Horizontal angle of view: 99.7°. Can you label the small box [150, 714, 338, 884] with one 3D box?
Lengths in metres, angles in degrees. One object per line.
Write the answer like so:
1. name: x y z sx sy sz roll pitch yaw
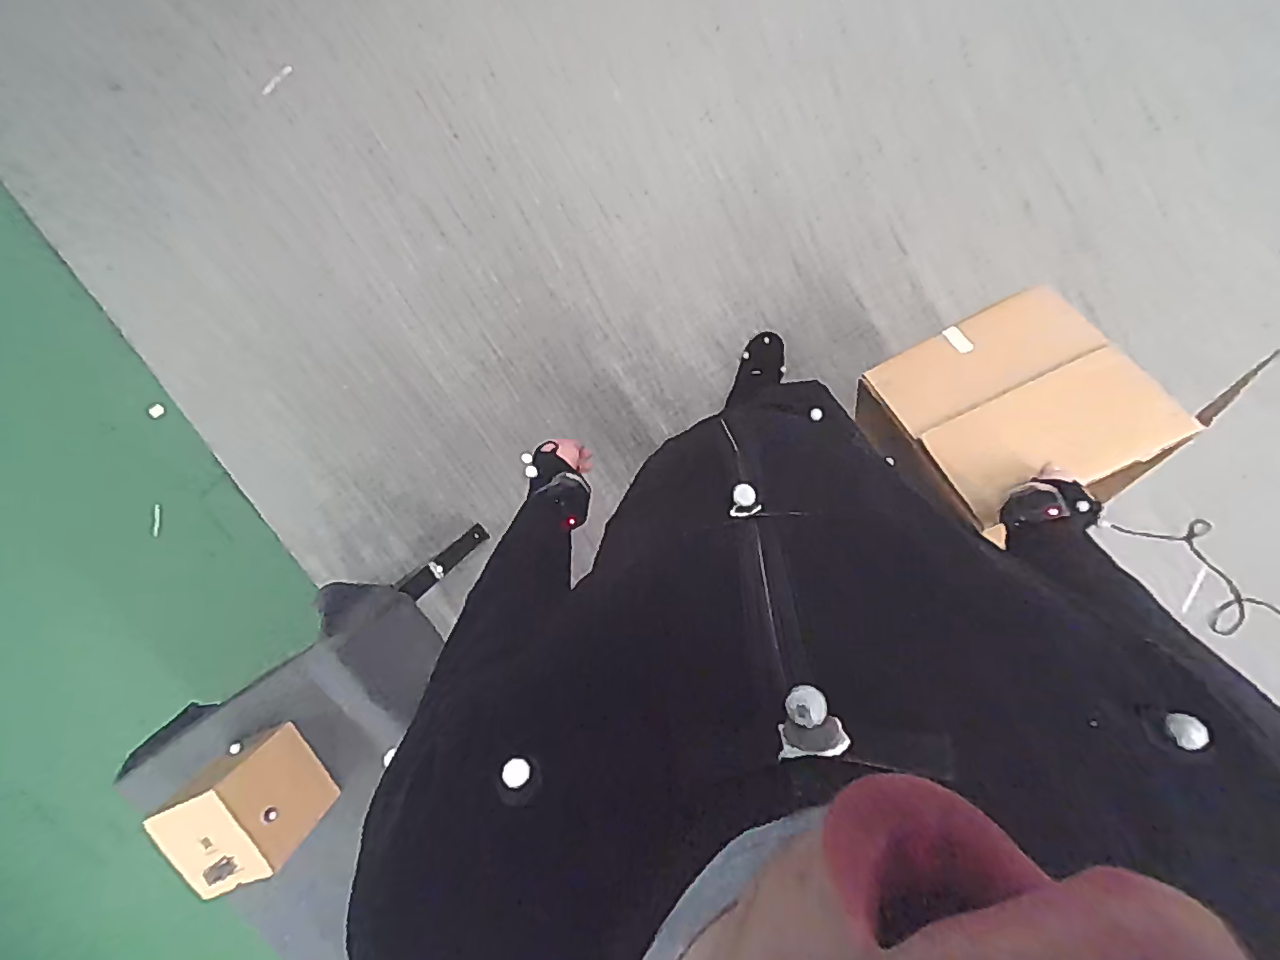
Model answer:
1. small box: -0.688 0.560 0.962 0.168 0.176 0.179 -26 99 12
